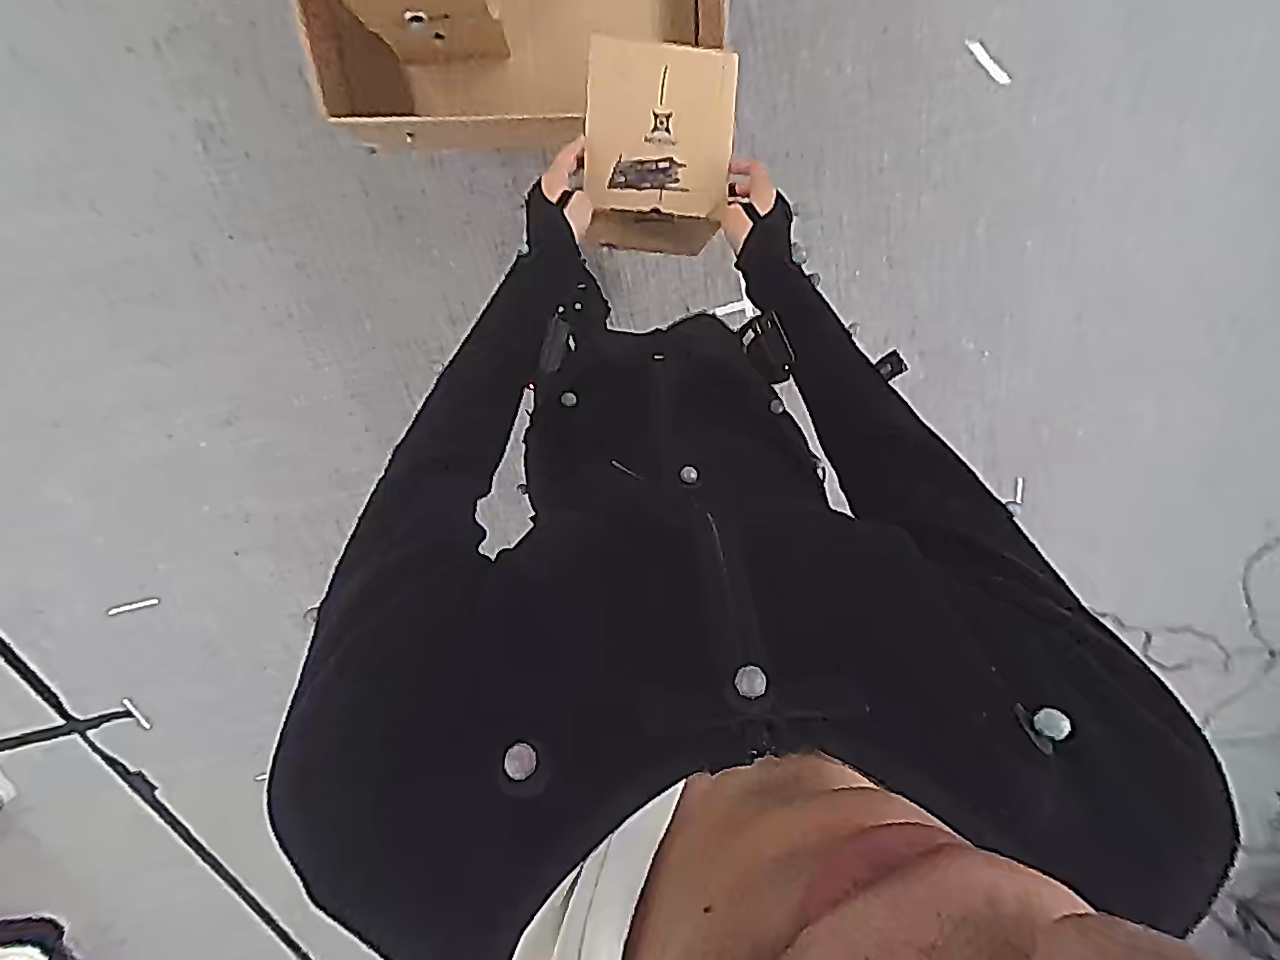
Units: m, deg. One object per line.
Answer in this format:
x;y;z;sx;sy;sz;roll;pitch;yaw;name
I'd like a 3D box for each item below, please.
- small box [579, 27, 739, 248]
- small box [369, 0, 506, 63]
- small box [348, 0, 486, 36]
0.013;-0.400;0.668;0.168;0.176;0.179;3;99;-6;small box
-0.303;-0.732;0.784;0.179;0.176;0.168;-9;115;-5;small box
-0.291;-0.667;0.634;0.168;0.176;0.179;-11;114;-3;small box
